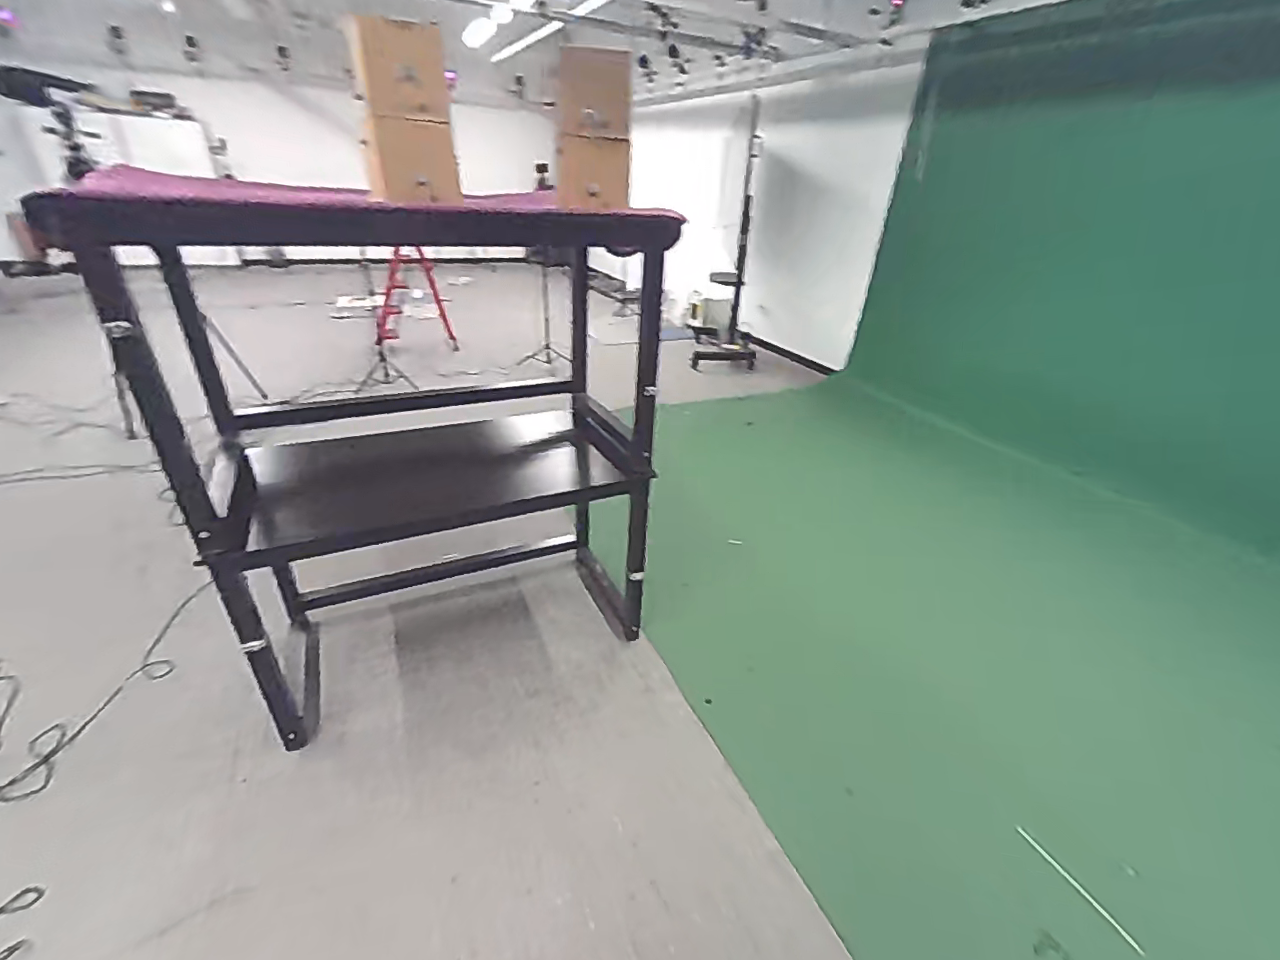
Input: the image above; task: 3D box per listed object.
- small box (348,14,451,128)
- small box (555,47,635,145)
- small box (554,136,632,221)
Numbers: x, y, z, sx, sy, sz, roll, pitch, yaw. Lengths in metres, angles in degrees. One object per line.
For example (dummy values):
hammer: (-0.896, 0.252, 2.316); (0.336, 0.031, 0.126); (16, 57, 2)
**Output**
small box: (-0.509, -0.854, 1.147); (0.168, 0.176, 0.179); (-12, 33, -26)
small box: (-0.112, -0.890, 1.267); (0.168, 0.176, 0.179); (-5, 32, -11)
small box: (-0.124, -0.754, 1.354); (0.168, 0.176, 0.179); (-5, 32, -15)
